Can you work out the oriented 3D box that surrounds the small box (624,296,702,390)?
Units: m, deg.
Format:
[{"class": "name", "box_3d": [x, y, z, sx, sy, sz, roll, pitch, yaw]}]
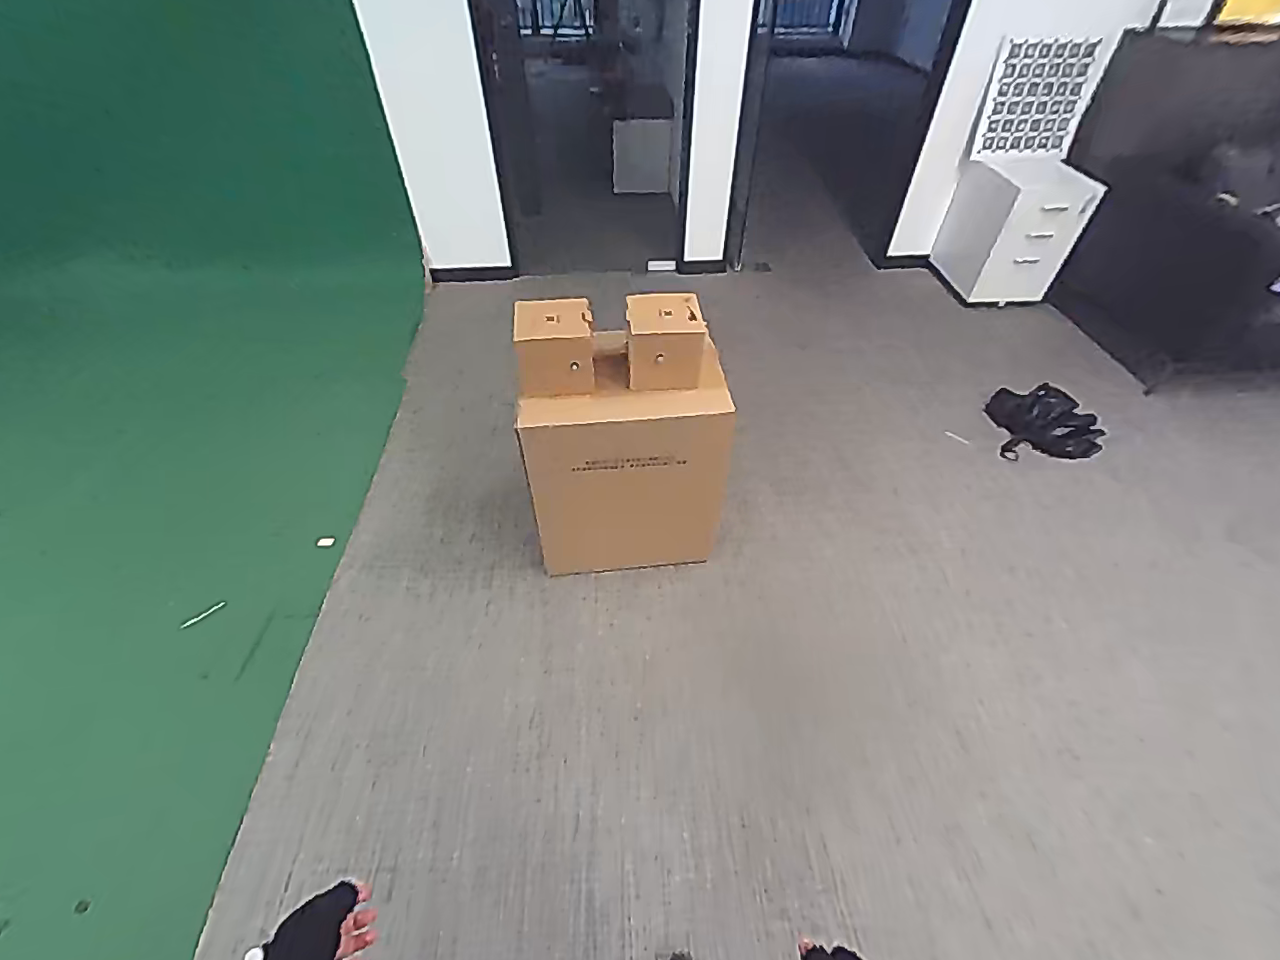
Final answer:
[{"class": "small box", "box_3d": [0.053, -0.338, 1.349, 0.179, 0.176, 0.168, -3, 50, -4]}]

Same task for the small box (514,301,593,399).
[{"class": "small box", "box_3d": [-0.207, -0.318, 1.328, 0.179, 0.176, 0.168, -6, 49, -5]}]
